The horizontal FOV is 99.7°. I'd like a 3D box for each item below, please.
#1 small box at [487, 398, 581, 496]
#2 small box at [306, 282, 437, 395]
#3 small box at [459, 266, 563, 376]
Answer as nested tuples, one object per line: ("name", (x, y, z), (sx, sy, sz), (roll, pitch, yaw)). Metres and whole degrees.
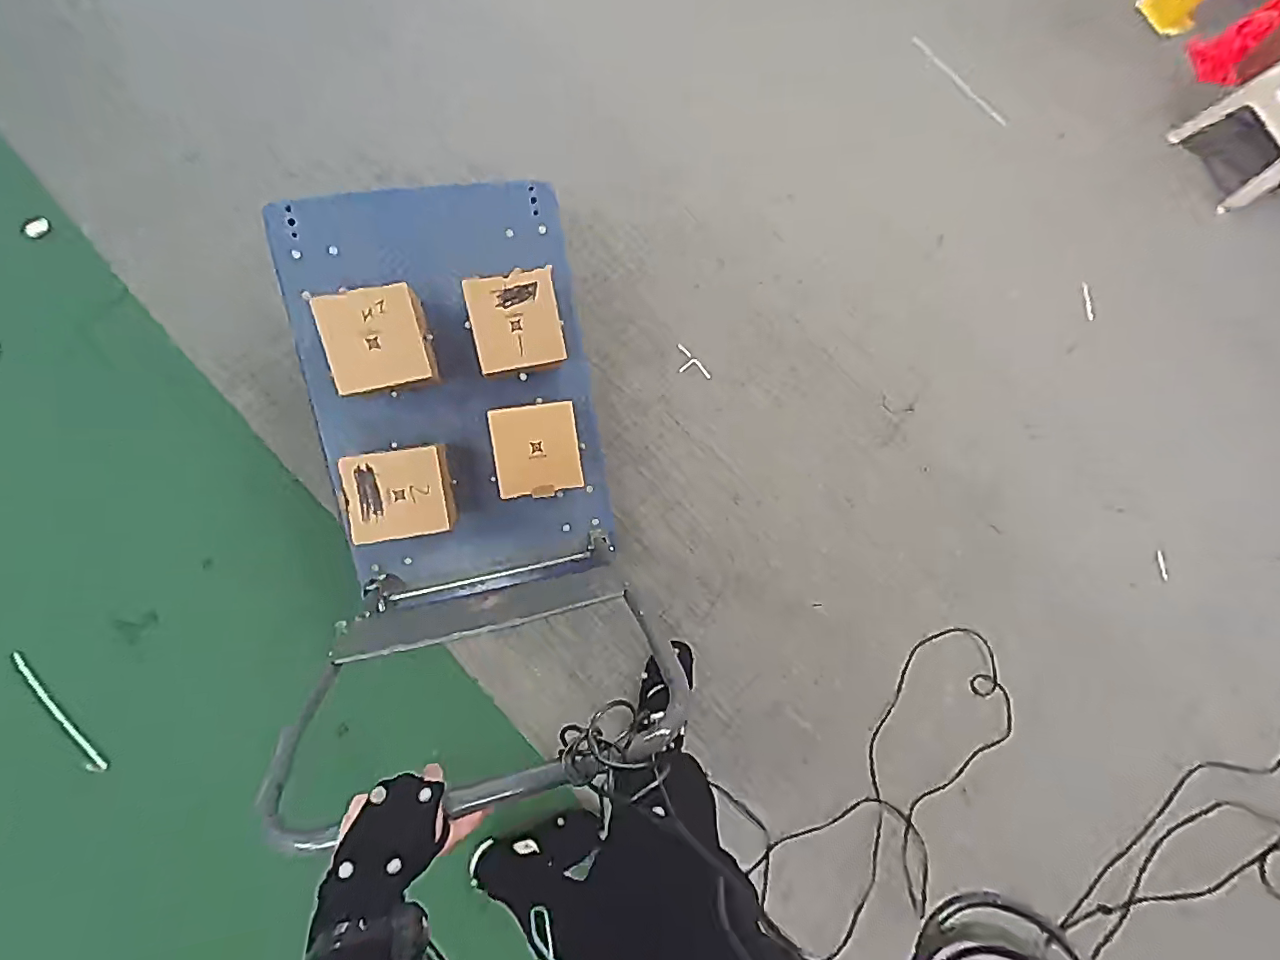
("small box", (-0.224, -0.074, 1.133), (0.168, 0.176, 0.179), (-9, 99, -11))
("small box", (-0.505, -0.265, 1.046), (0.168, 0.176, 0.179), (-15, 100, -11))
("small box", (-0.258, -0.314, 1.095), (0.168, 0.176, 0.179), (-13, 100, -10))
